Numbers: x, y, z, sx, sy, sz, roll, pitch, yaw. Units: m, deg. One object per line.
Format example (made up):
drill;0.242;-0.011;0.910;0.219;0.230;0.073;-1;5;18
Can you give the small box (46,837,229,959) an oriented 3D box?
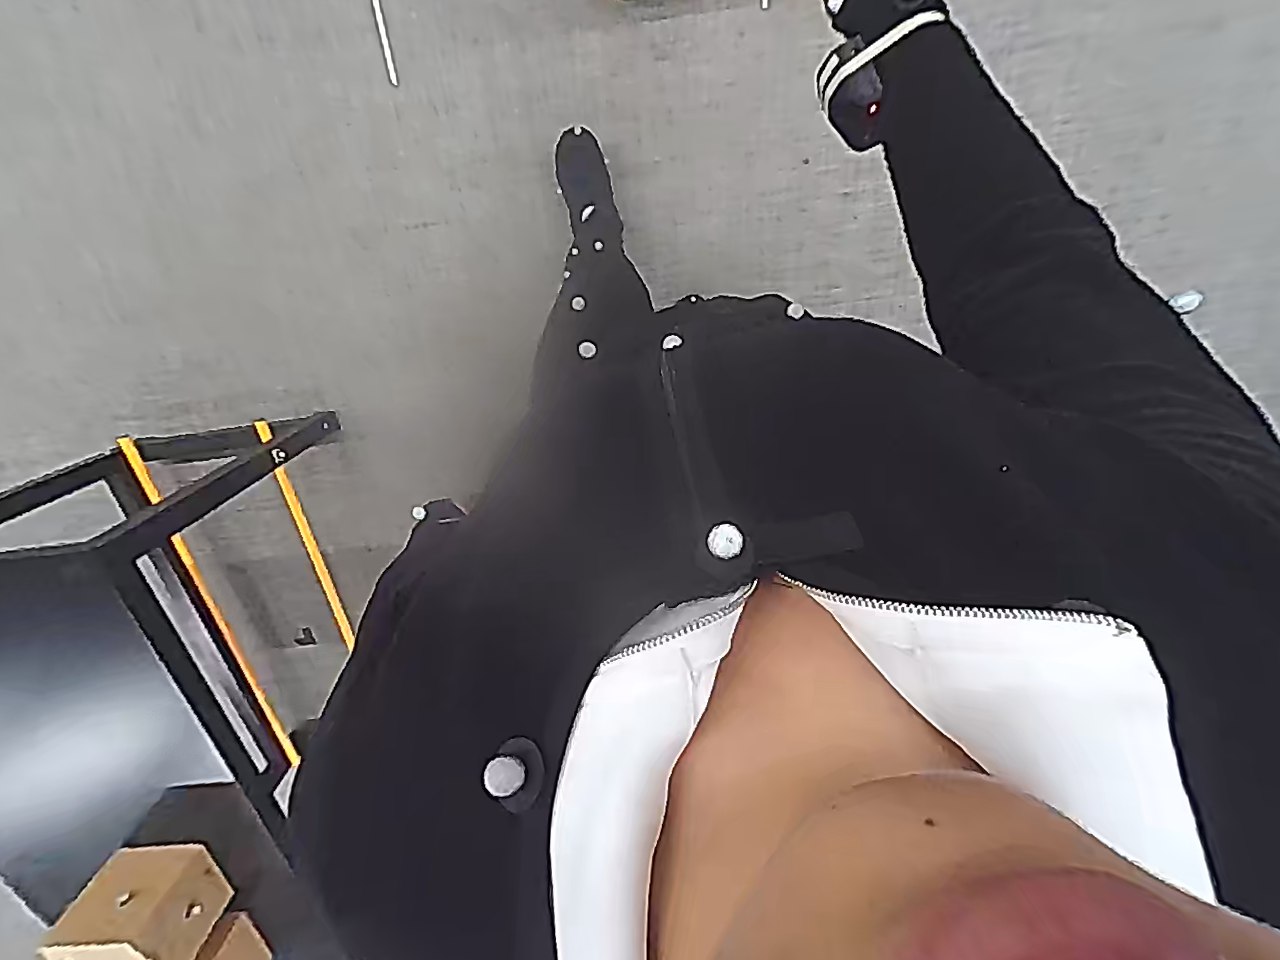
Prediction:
small box;-0.946;0.823;1.046;0.179;0.176;0.168;-5;114;2

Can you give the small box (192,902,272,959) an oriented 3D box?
small box;-0.928;1.035;1.141;0.168;0.176;0.179;-6;114;2
